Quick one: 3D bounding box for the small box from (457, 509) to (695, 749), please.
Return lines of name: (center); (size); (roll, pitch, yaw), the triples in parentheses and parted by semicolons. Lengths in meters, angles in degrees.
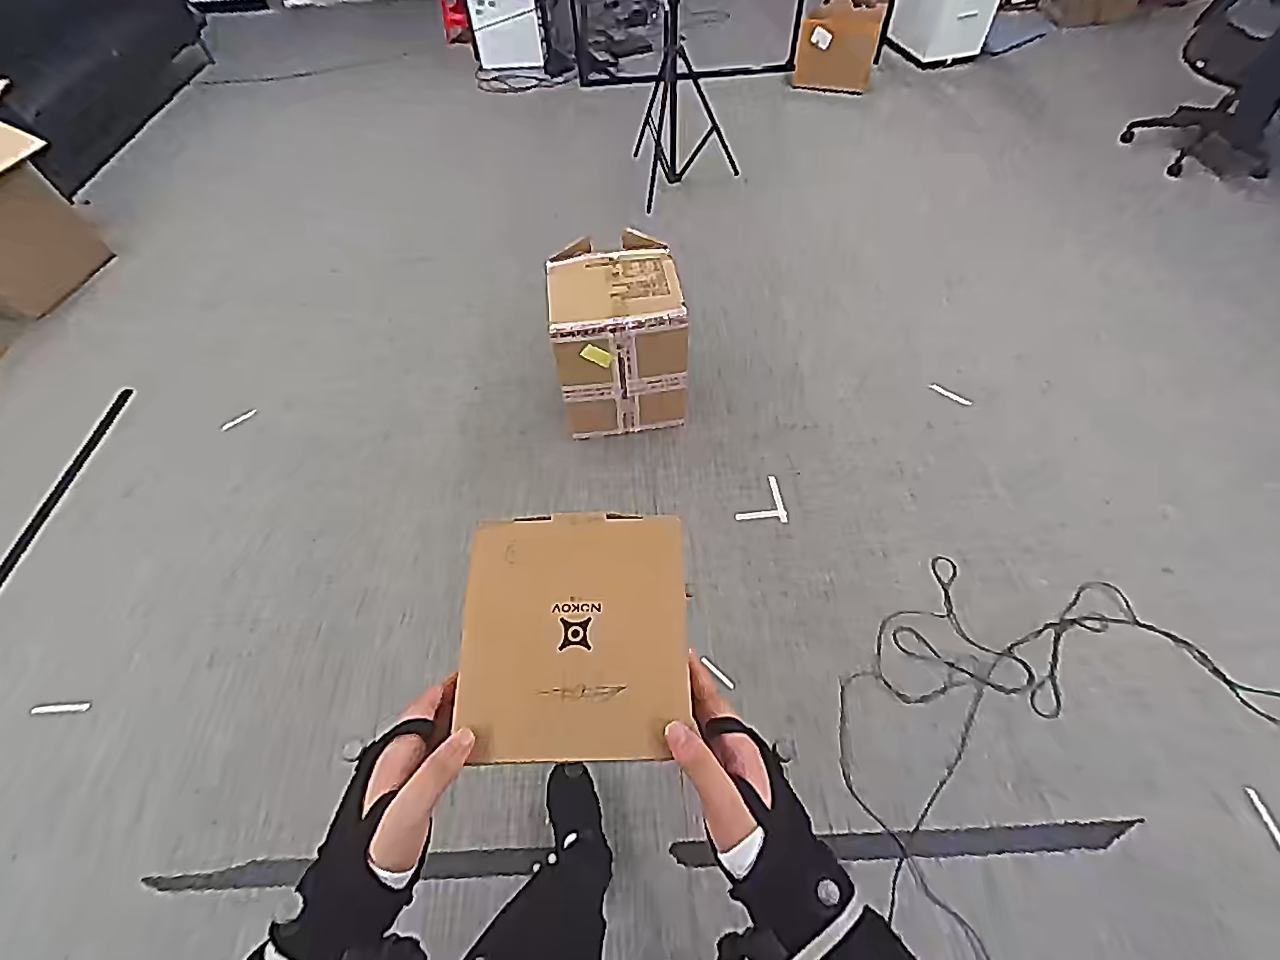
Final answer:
small box: (-0.045, 0.137, 0.475); (0.168, 0.176, 0.179); (-1, 66, 0)
